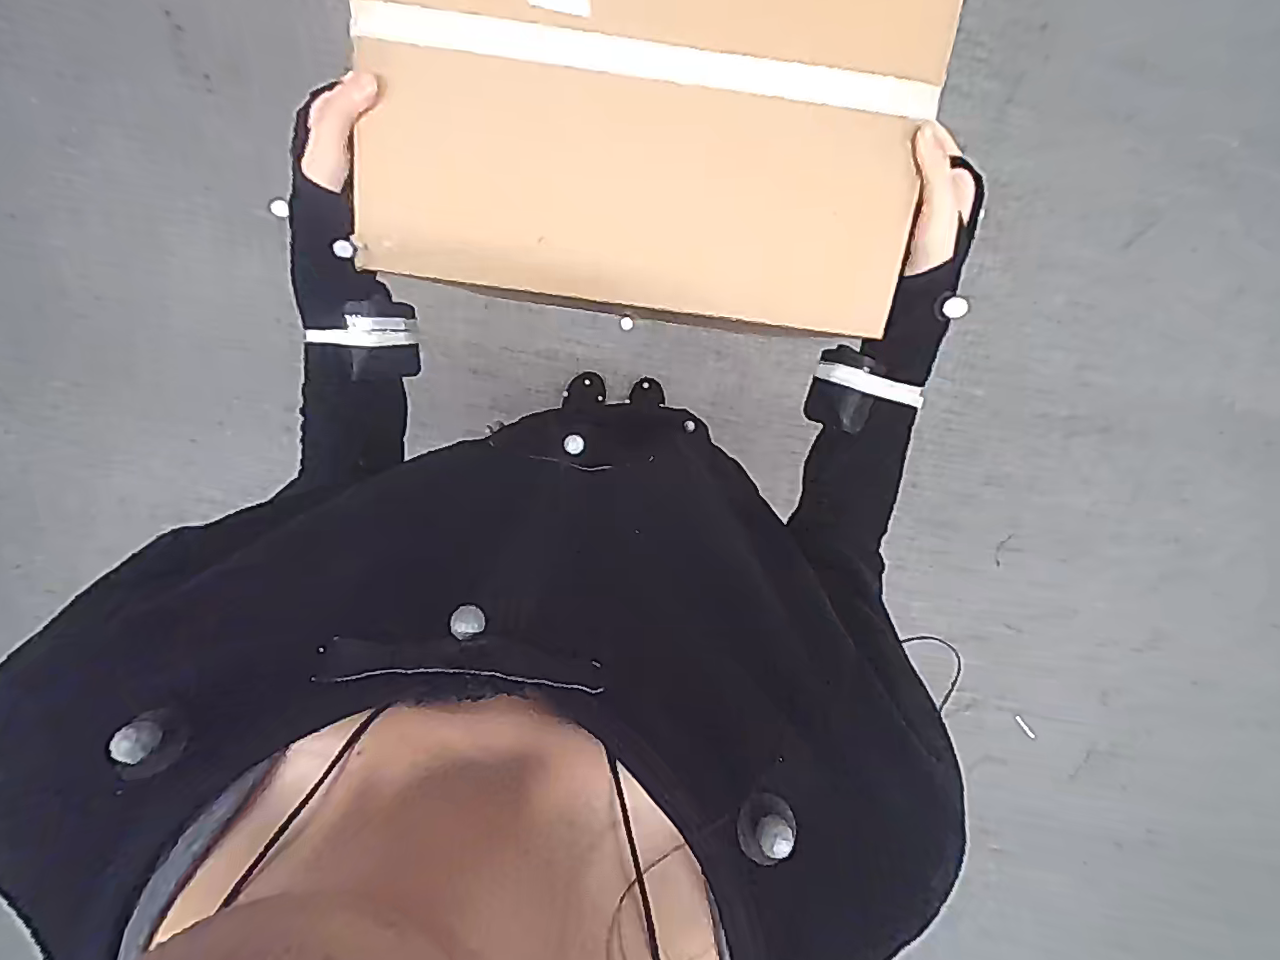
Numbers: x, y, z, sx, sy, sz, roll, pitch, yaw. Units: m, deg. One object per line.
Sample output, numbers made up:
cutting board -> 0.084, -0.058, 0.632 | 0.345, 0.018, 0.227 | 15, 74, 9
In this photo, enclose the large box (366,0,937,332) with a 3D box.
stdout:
large box -> 0.004, -0.330, 0.533 | 0.408, 0.320, 0.320 | 7, 105, -2
